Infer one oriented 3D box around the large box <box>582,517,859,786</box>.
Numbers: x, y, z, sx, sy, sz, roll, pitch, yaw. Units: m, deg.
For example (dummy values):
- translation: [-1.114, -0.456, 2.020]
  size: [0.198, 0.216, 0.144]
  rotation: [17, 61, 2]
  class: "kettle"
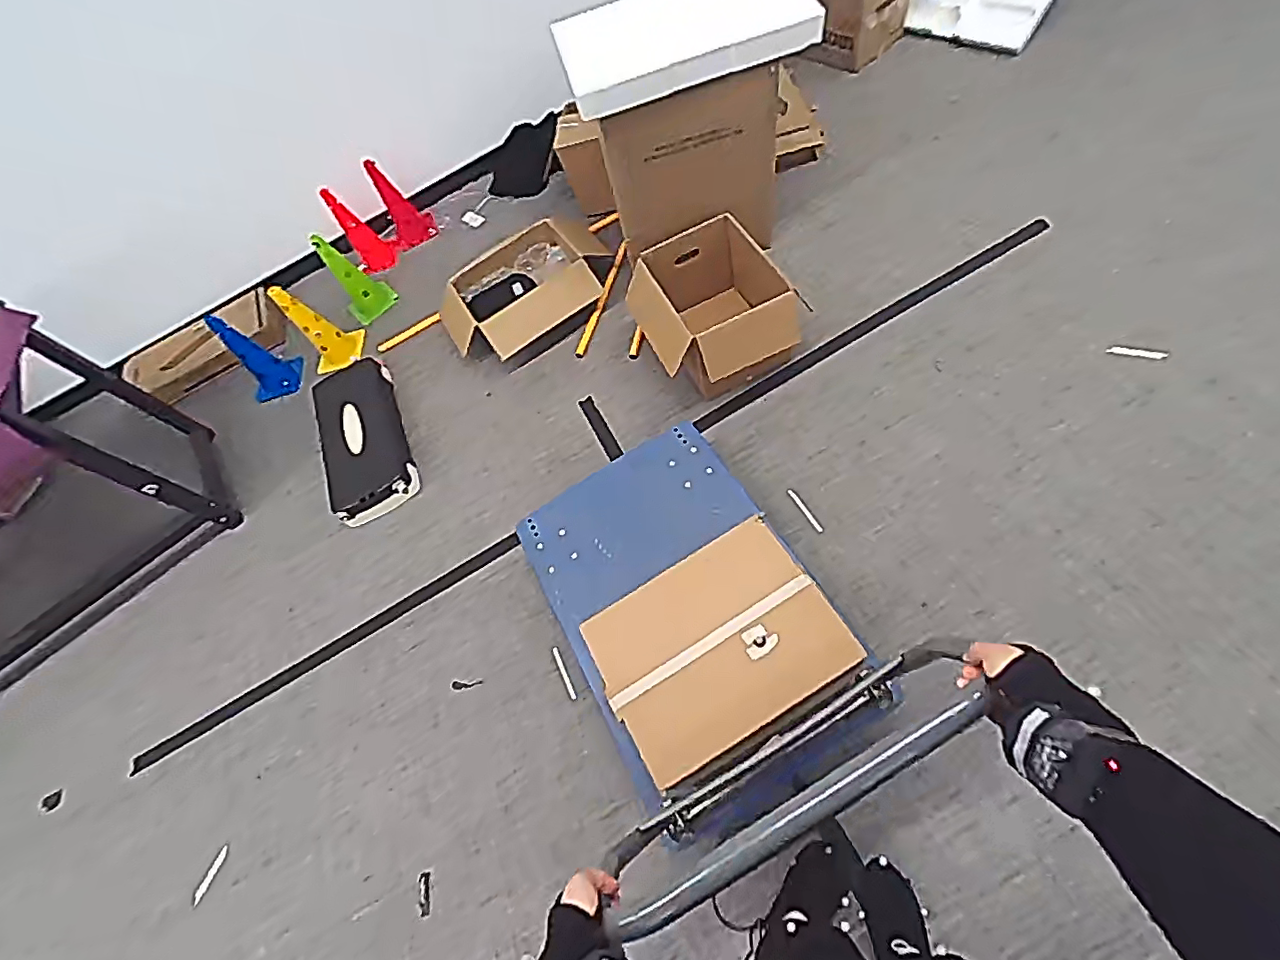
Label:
- translation: [0.159, 0.352, 1.085]
  size: [0.408, 0.320, 0.320]
  rotation: [-32, 60, -4]
  class: "large box"
